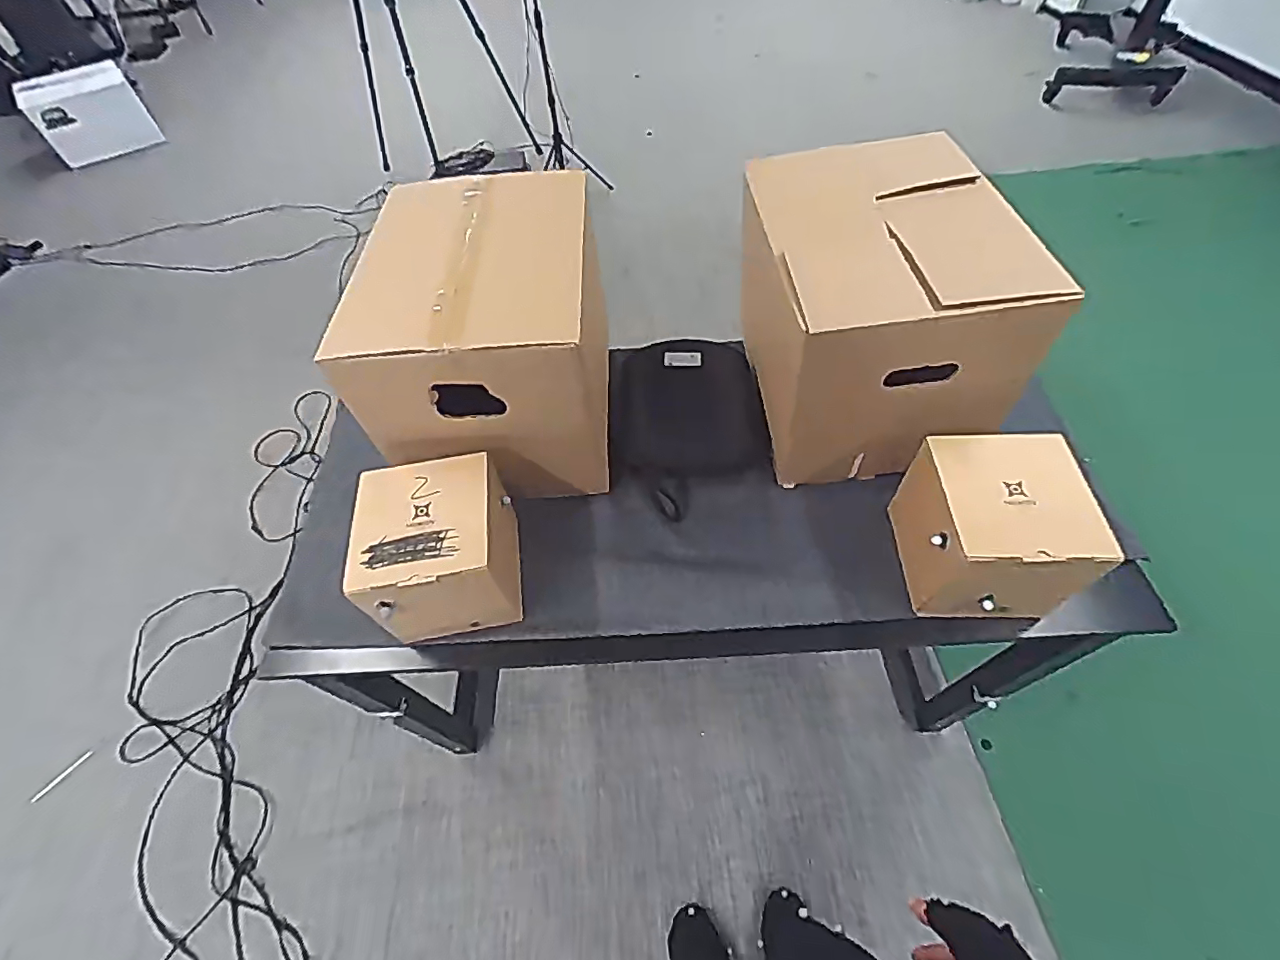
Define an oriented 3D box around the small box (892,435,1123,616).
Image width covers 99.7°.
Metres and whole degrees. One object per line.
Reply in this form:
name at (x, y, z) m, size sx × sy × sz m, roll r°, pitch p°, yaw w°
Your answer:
small box at (0.447, 0.061, 0.698) m, size 0.168 × 0.176 × 0.179 m, roll 0°, pitch 56°, yaw 5°
